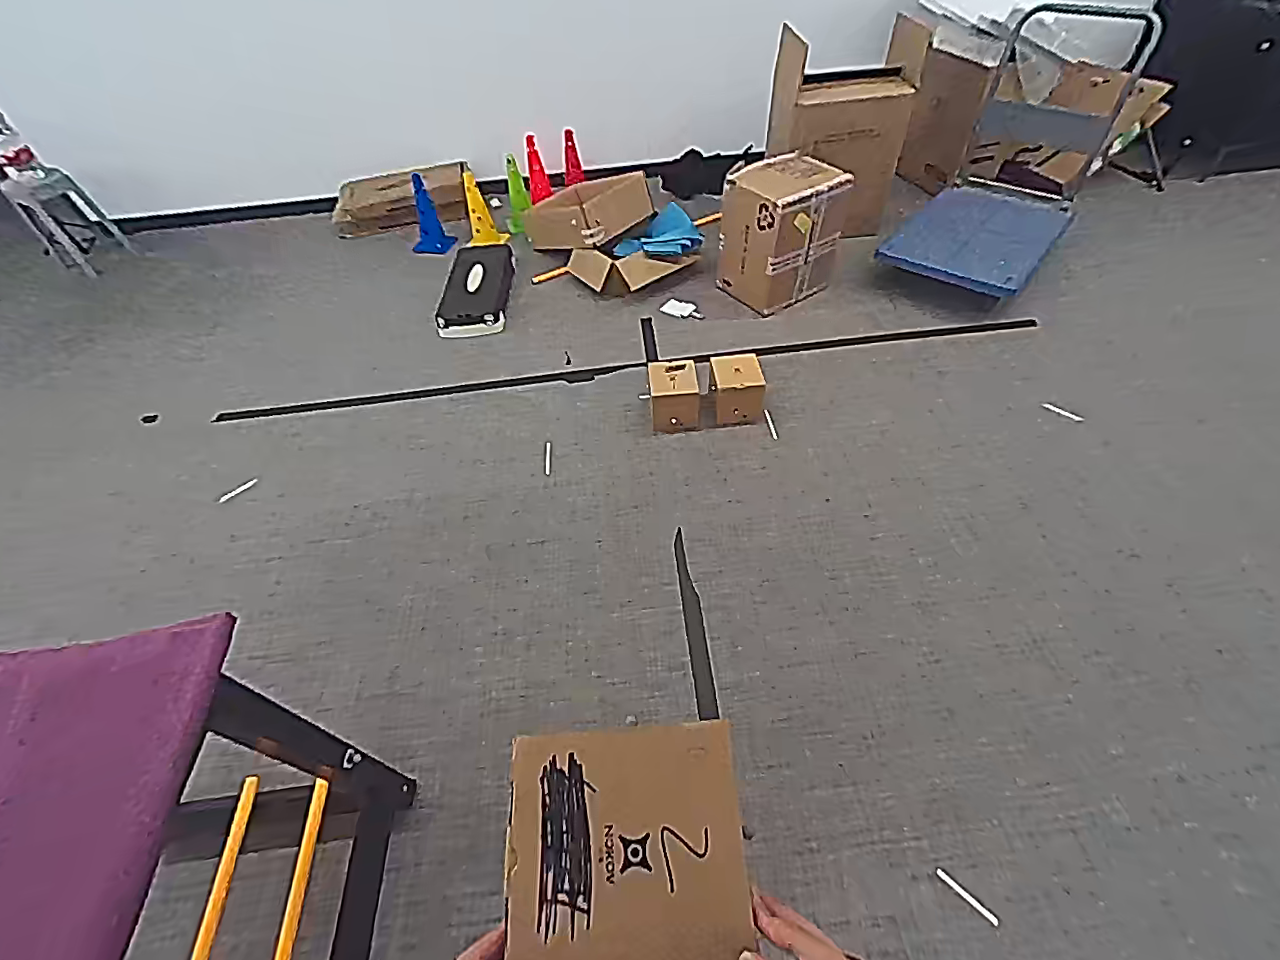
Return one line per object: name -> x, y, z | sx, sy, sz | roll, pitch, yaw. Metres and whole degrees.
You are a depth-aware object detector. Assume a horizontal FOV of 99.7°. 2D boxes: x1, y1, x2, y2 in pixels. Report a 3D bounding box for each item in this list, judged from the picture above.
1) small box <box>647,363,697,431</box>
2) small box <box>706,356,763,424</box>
small box -> 0.111, -0.296, 1.939 | 0.168, 0.176, 0.179 | -5, 50, 0
small box -> 0.336, -0.323, 1.951 | 0.168, 0.176, 0.179 | -6, 50, -2
